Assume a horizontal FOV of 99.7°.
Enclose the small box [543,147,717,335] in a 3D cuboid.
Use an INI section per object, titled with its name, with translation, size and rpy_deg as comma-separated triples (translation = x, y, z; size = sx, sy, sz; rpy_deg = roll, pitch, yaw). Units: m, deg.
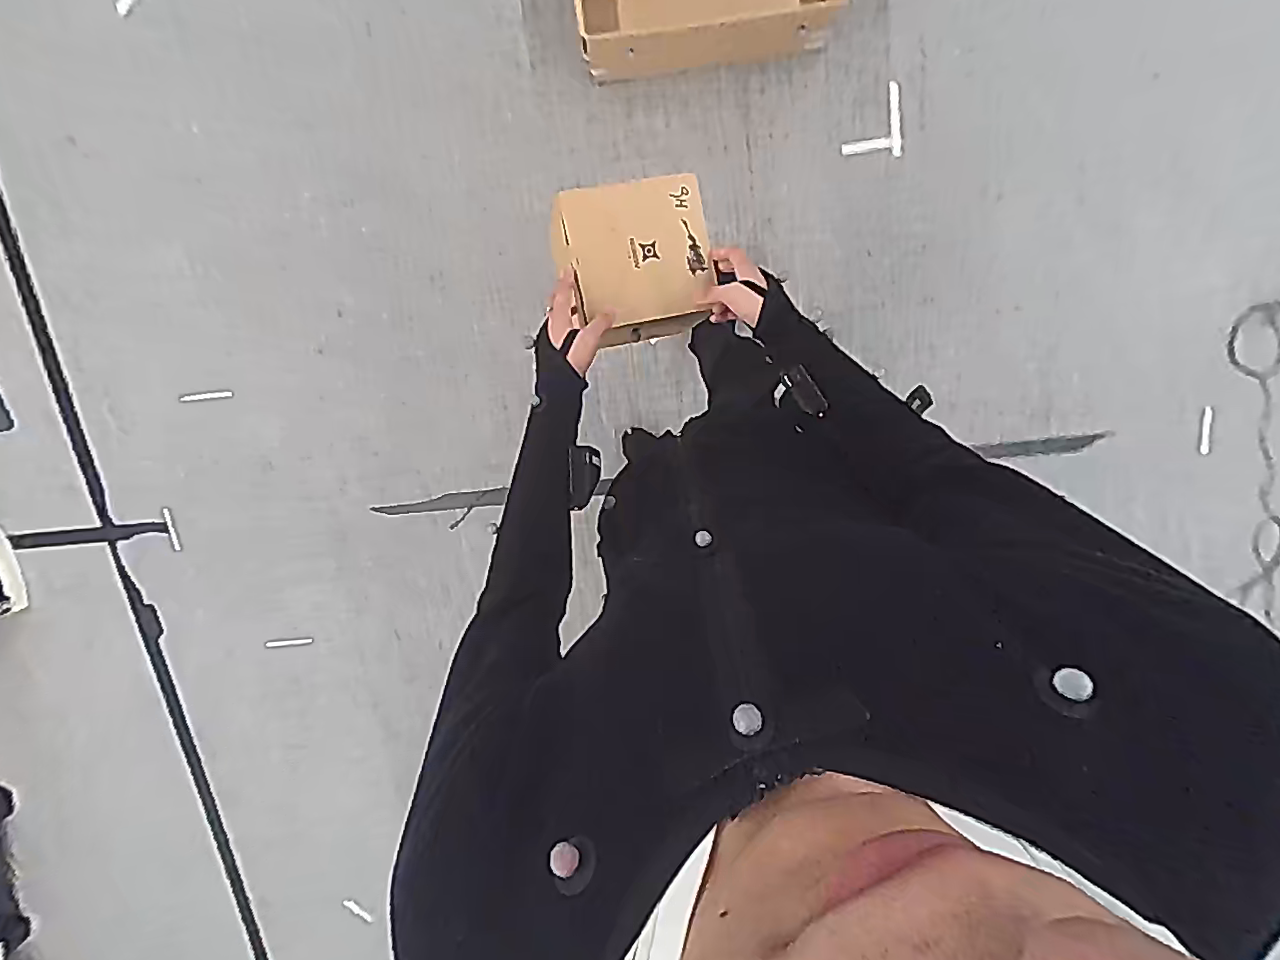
[small box]
translation = -0.020, -0.296, 0.706
size = 0.179, 0.176, 0.168
rpy_deg = -15, 99, -8
